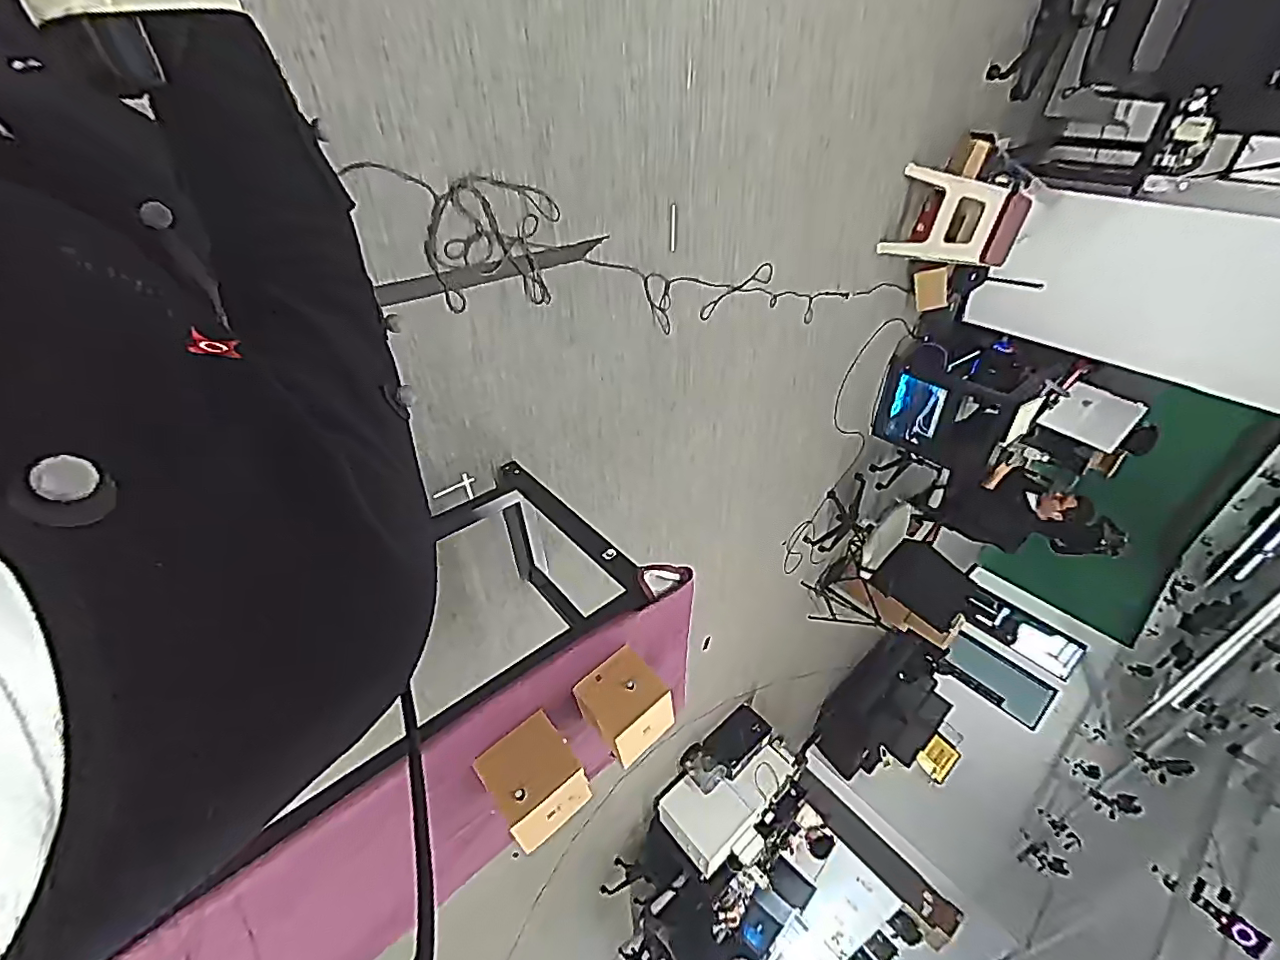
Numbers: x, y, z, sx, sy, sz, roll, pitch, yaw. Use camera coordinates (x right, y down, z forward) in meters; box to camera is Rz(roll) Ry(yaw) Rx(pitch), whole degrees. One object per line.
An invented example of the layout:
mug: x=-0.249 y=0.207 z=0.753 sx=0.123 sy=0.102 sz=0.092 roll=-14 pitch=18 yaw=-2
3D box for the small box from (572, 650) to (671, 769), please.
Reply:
small box: x=-0.045 y=0.541 z=1.297 sx=0.168 sy=0.176 sz=0.179 roll=-33 pitch=139 yaw=-25

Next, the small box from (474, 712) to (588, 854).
small box: x=-0.239 y=0.649 z=1.168 sx=0.179 sy=0.176 sz=0.168 roll=-31 pitch=138 yaw=-27
